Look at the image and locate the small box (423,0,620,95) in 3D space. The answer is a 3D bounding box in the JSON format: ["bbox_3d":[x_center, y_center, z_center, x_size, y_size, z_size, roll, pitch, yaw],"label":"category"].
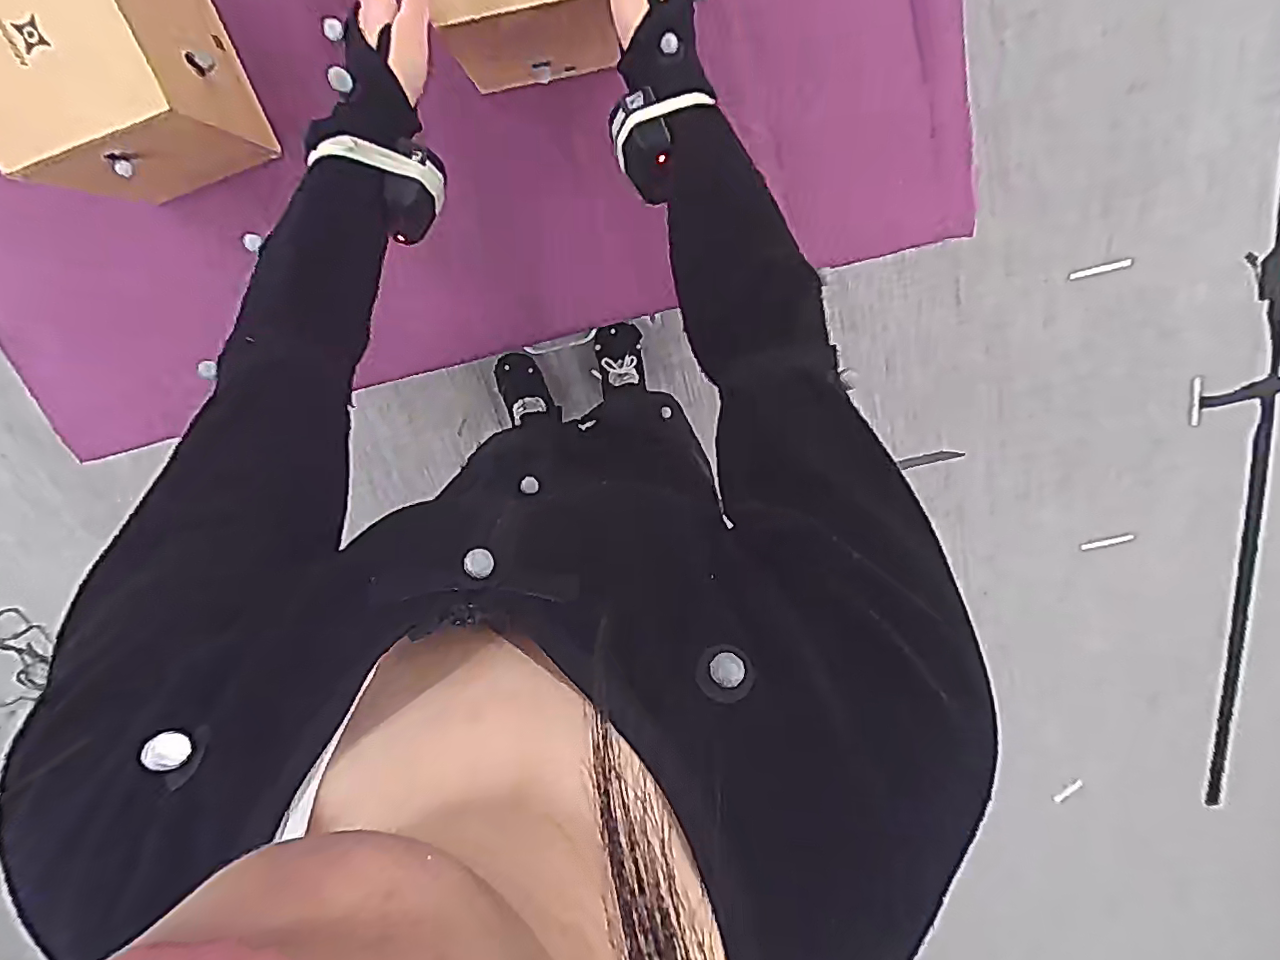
[{"bbox_3d":[-0.113,-0.497,0.500,0.168,0.176,0.179,-9,110,2],"label":"small box"}]

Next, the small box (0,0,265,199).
[{"bbox_3d":[-0.515,-0.396,0.528,0.179,0.176,0.168,-17,109,5],"label":"small box"}]
